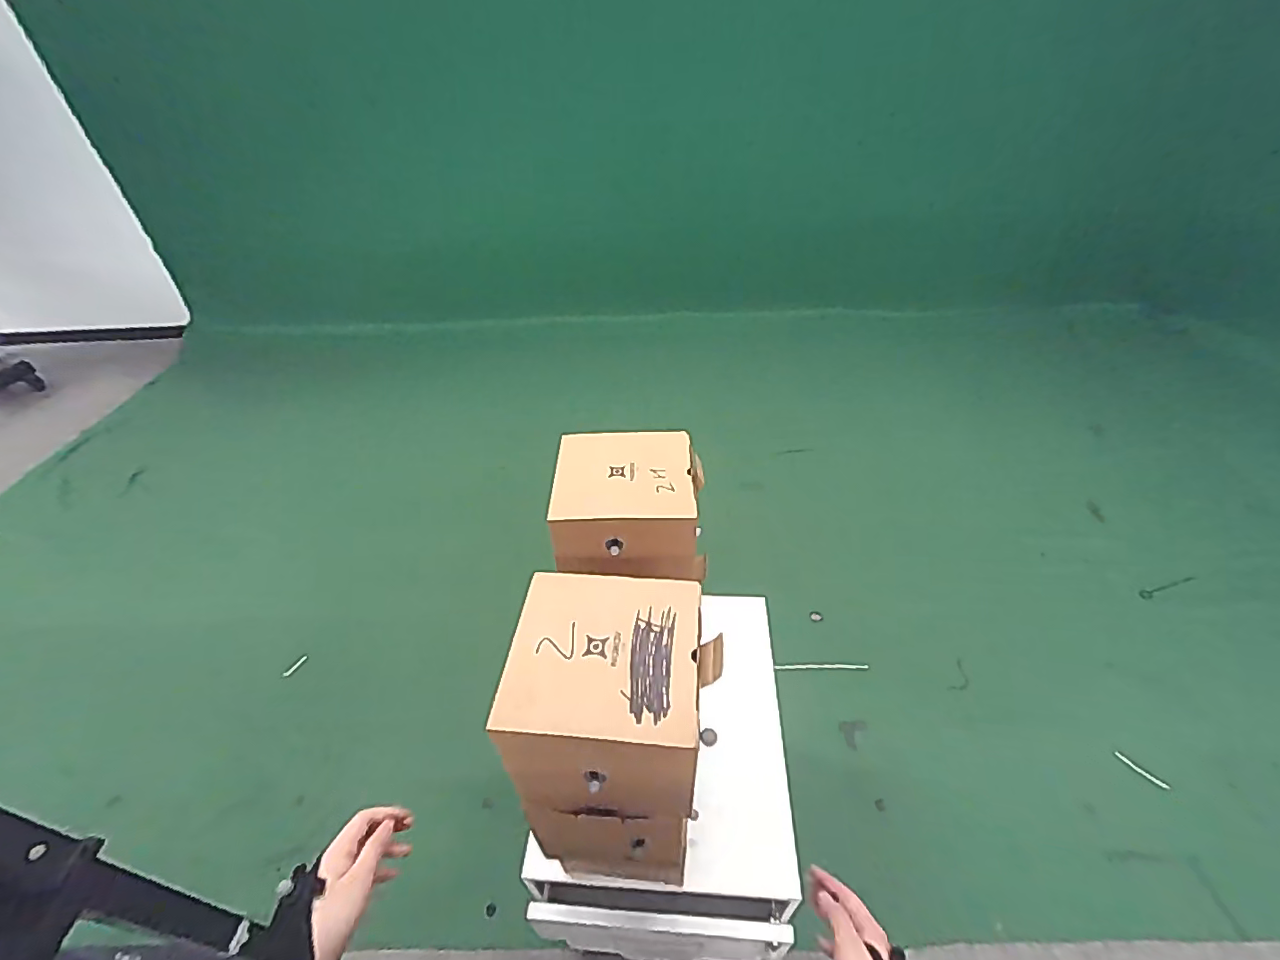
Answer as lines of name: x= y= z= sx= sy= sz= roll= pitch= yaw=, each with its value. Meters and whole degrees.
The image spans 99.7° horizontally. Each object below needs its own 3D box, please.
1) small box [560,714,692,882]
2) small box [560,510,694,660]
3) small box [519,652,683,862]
small box: x=-0.020 y=0.441 z=0.764 sx=0.179 sy=0.176 sz=0.168 roll=3 pitch=41 yaw=6
small box: x=-0.011 y=0.166 z=0.834 sx=0.179 sy=0.176 sz=0.168 roll=4 pitch=42 yaw=6
small box: x=-0.032 y=0.331 z=0.645 sx=0.168 sy=0.176 sz=0.179 roll=2 pitch=40 yaw=3
